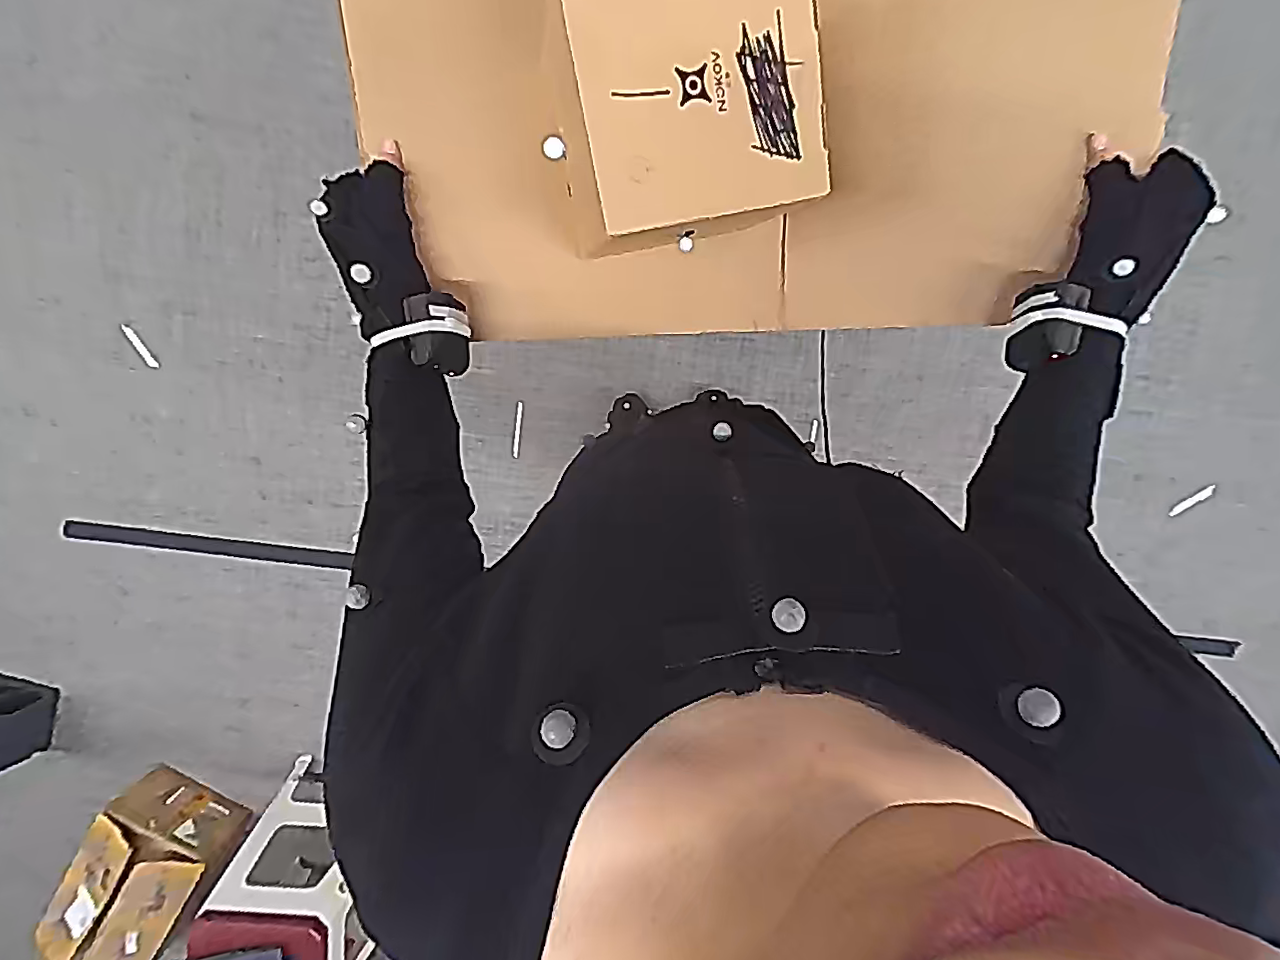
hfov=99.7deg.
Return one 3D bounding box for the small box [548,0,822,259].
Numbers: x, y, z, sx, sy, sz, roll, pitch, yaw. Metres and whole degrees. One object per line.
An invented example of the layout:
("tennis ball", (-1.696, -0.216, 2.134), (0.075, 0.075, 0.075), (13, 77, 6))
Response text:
("small box", (0.028, -0.293, 0.455), (0.179, 0.176, 0.168), (-14, 108, -8))
